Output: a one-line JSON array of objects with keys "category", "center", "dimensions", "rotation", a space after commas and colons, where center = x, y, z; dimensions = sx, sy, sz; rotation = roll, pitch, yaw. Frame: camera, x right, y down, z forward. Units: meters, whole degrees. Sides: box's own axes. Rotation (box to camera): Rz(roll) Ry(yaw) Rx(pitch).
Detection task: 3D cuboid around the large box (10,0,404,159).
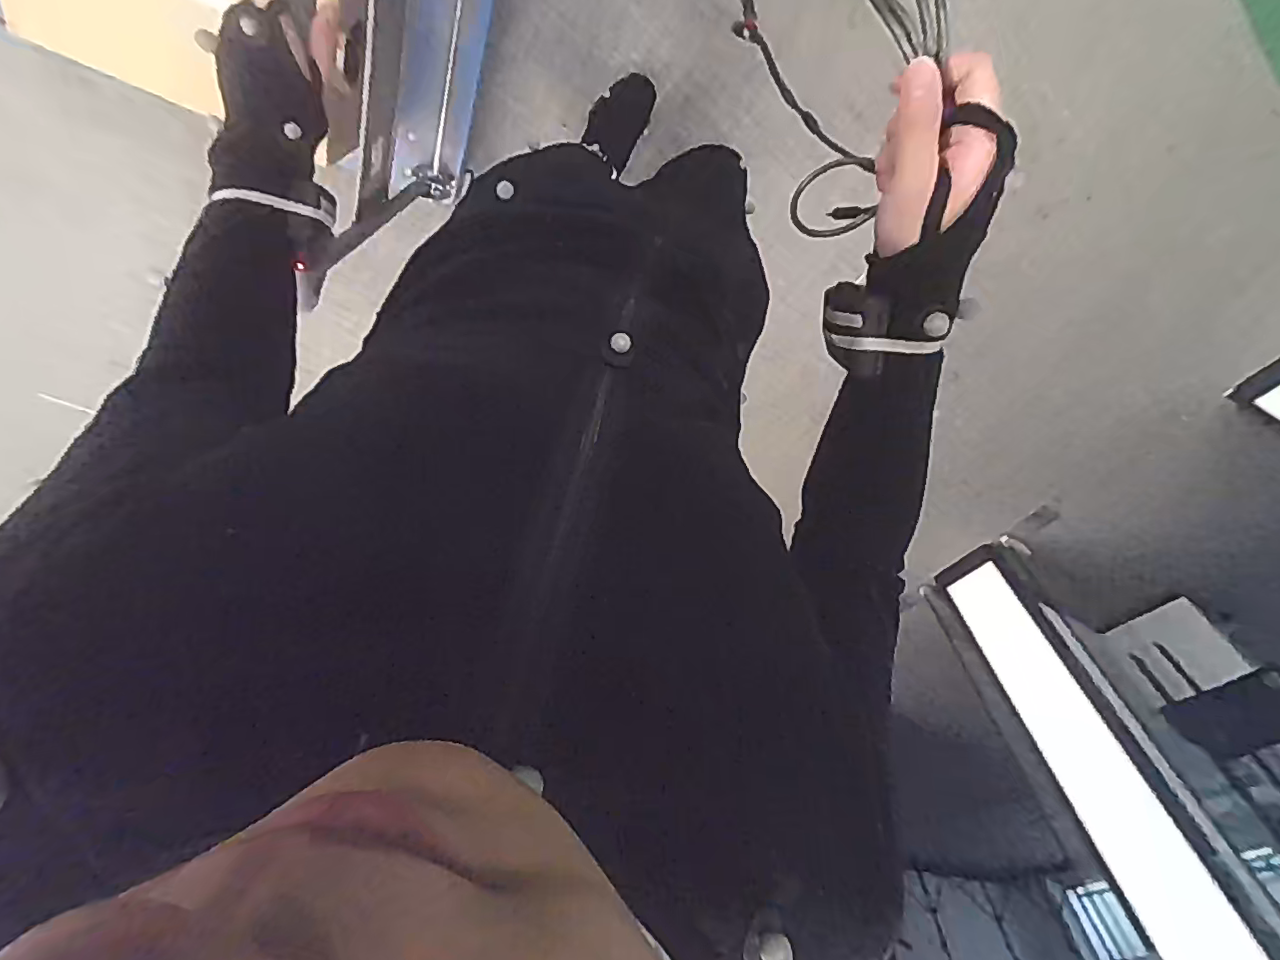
[{"category": "large box", "center": [-0.603, -0.760, 0.806], "dimensions": [0.408, 0.320, 0.320], "rotation": [17, 129, -18]}]
